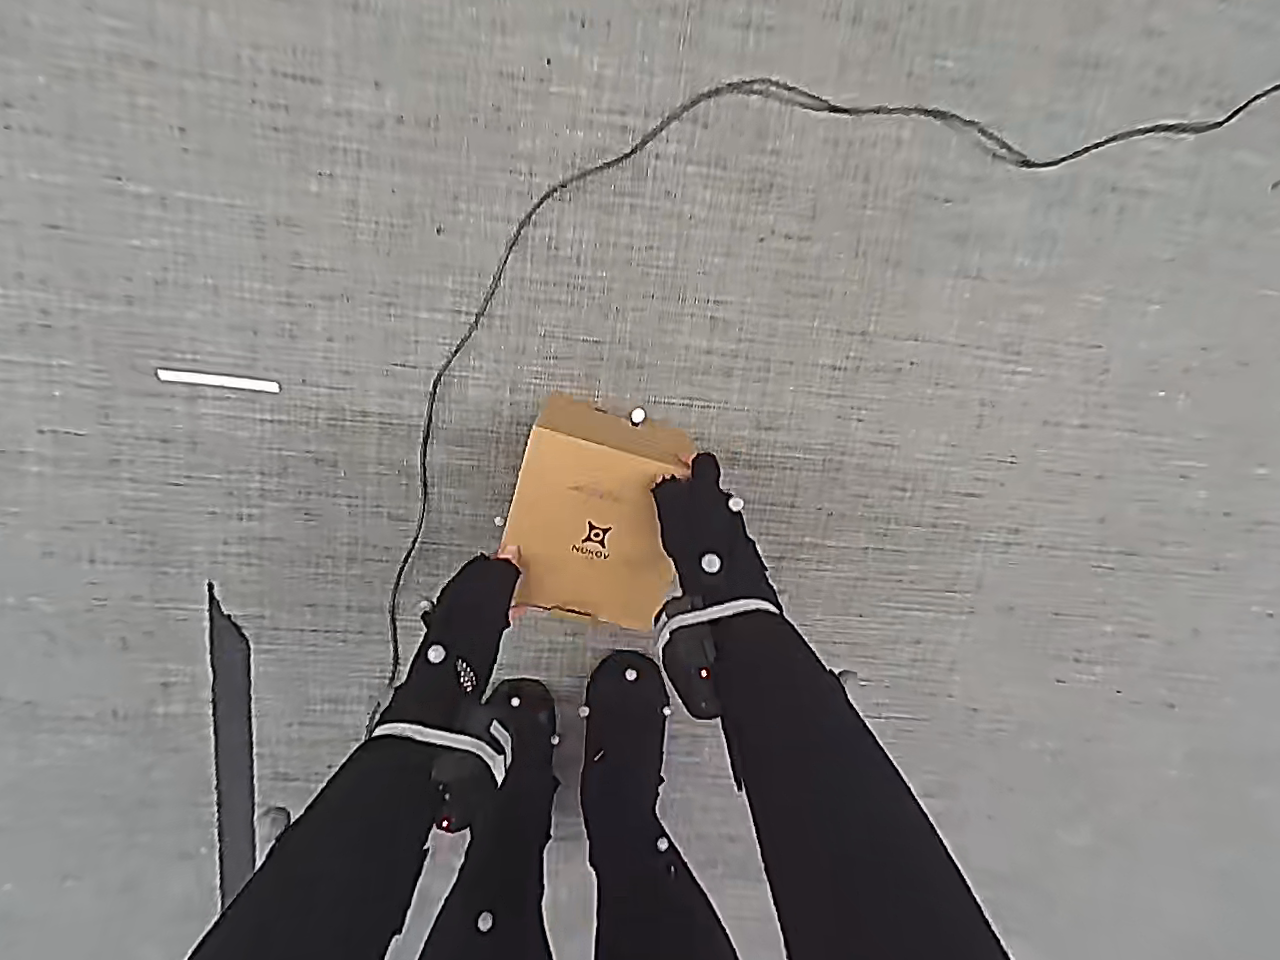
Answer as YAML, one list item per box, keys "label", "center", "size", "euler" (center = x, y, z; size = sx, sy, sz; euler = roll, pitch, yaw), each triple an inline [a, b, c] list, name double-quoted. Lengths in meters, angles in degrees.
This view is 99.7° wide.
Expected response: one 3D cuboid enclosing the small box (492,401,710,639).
- label: "small box"
  center: [-0.043, 0.033, 0.576]
  size: [0.168, 0.176, 0.179]
  euler: [16, 107, -10]
